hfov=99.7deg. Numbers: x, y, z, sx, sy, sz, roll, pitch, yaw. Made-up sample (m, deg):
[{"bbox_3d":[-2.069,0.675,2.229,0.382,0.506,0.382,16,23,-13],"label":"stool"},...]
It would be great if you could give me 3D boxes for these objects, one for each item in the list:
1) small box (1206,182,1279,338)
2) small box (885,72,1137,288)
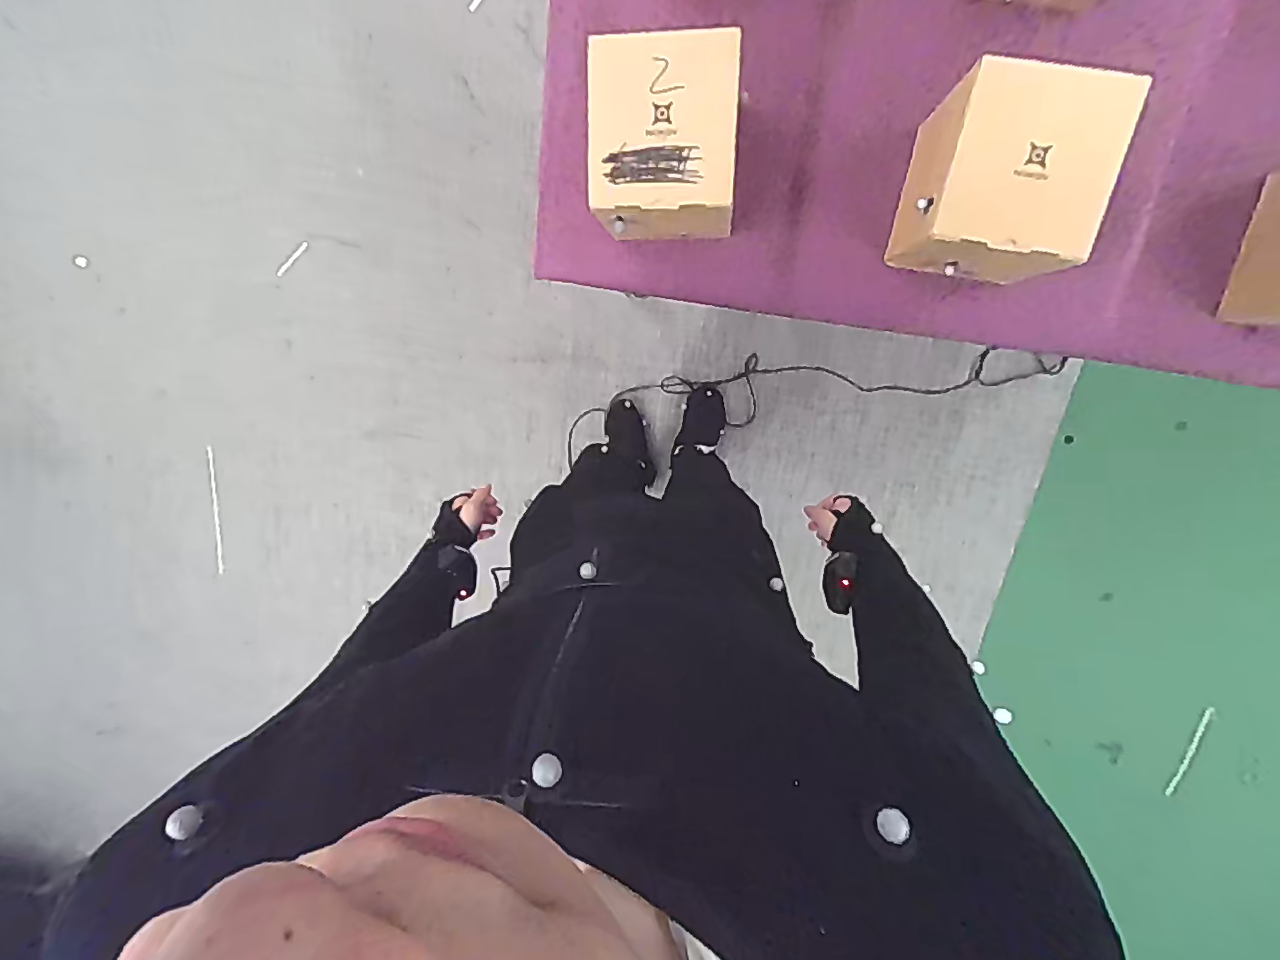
[{"bbox_3d":[0.829,-0.257,0.621,0.168,0.176,0.179,9,106,6],"label":"small box"},{"bbox_3d":[0.420,-0.342,0.651,0.168,0.176,0.179,11,105,3],"label":"small box"}]
